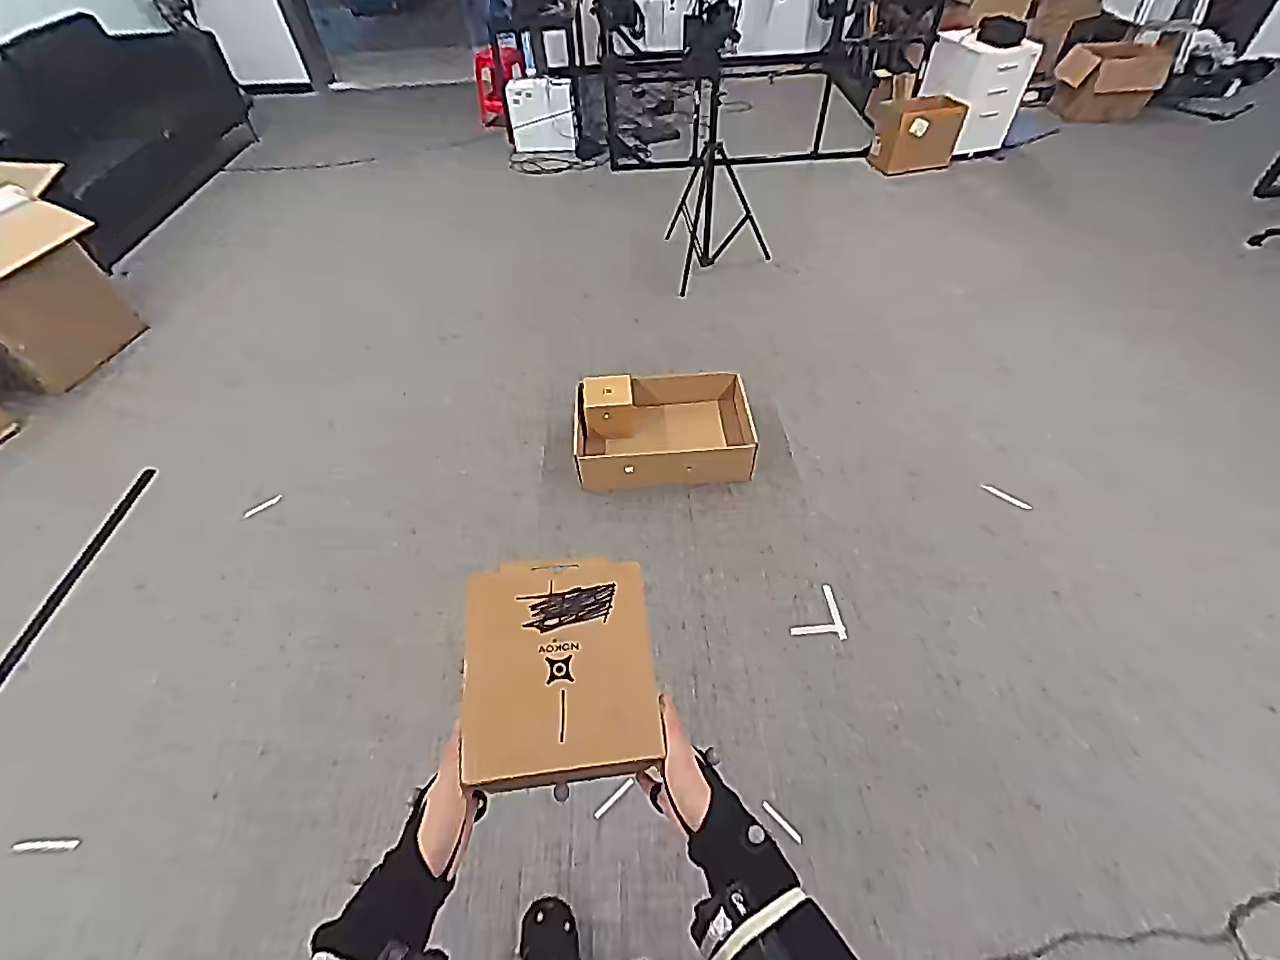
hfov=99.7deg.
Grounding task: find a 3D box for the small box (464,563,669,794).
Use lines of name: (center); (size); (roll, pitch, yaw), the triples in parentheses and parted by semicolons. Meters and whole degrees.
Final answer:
small box: (-0.075, 0.200, 0.541); (0.168, 0.176, 0.179); (-4, 58, -9)
